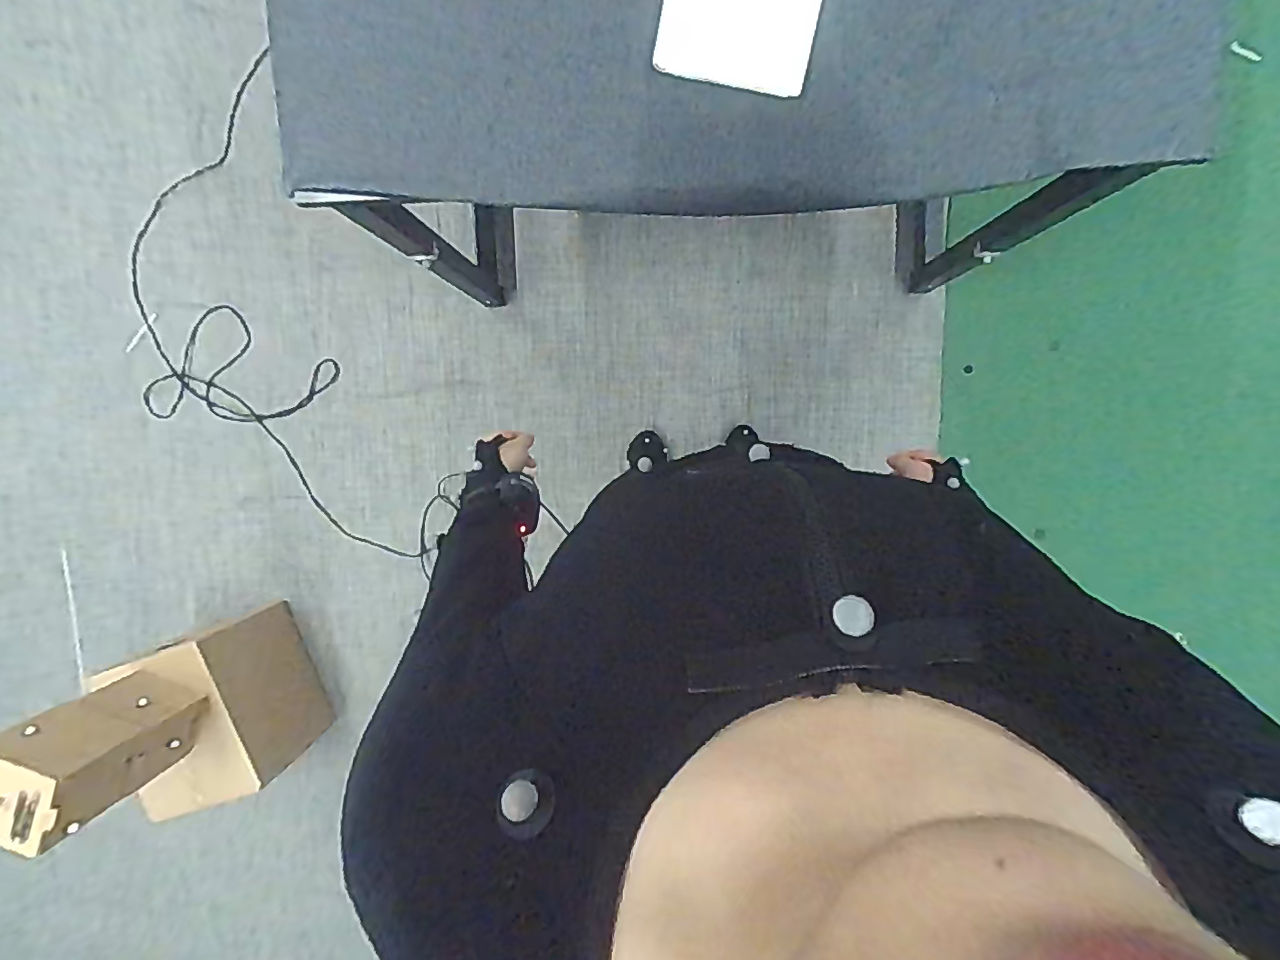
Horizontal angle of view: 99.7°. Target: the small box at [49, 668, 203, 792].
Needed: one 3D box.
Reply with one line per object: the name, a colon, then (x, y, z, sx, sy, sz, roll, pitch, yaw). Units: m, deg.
small box: (-1.145, 0.552, 1.219, 0.179, 0.176, 0.168, 21, 96, -2)
